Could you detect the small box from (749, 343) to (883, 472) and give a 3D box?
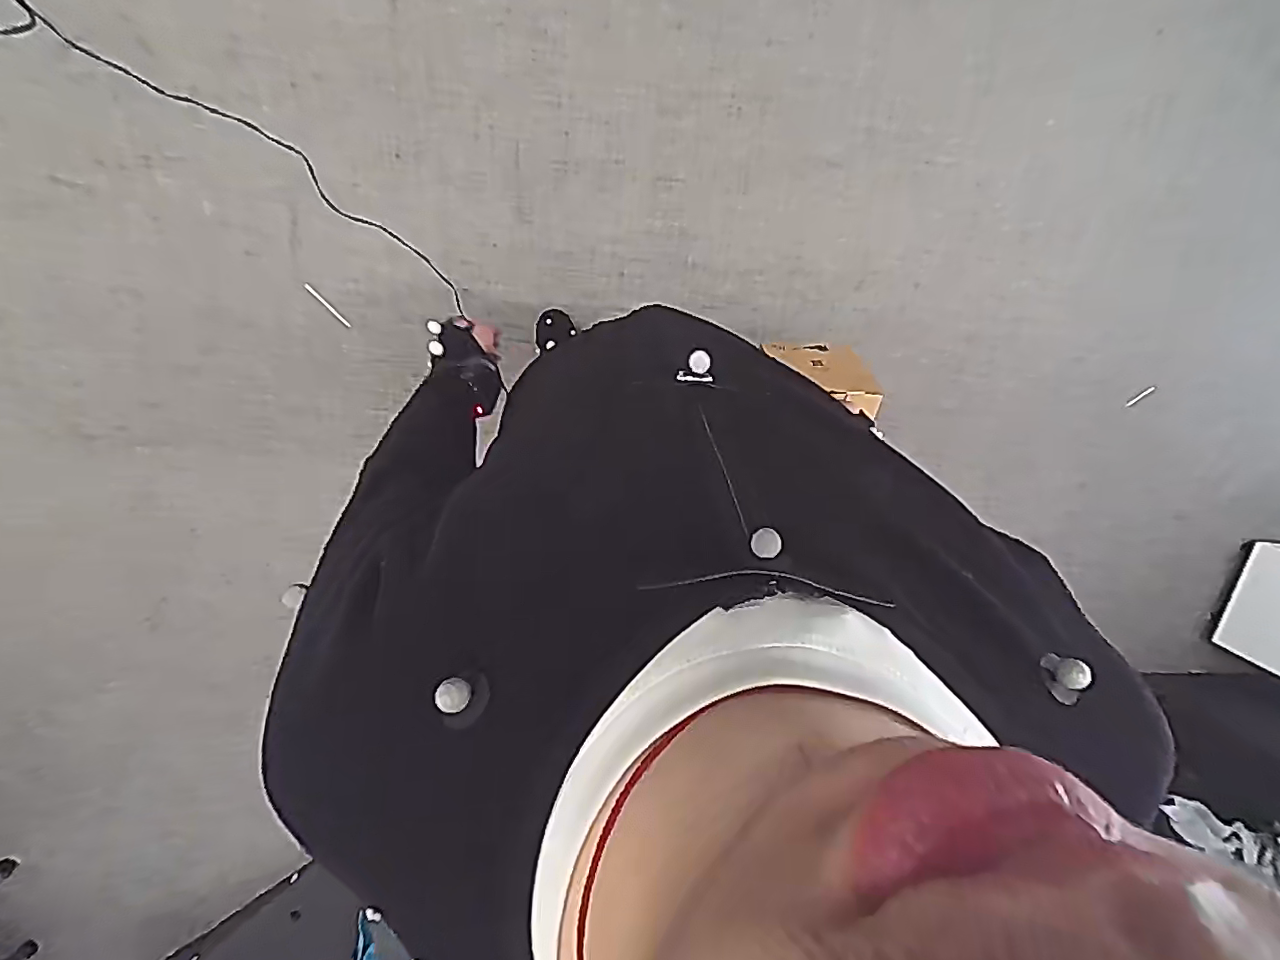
[{"bbox_3d":[0.300,-0.125,0.962,0.168,0.179,0.176,-2,131,-3],"label":"small box"}]
